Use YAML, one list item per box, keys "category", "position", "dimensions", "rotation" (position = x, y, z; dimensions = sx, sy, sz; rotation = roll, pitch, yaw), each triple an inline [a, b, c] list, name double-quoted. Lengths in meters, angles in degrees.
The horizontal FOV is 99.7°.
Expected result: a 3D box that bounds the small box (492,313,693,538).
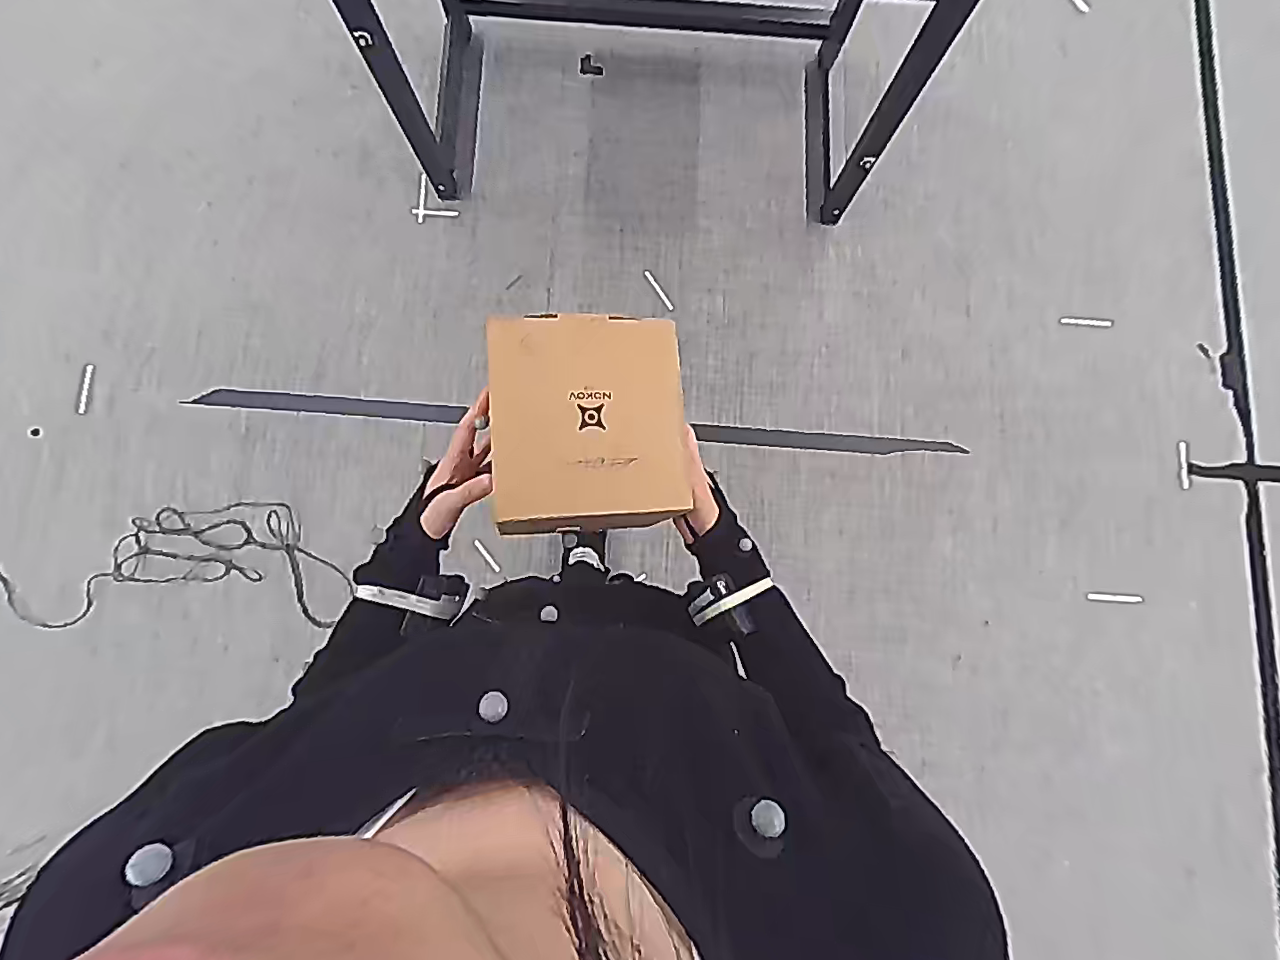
- category: "small box"
  position: [-0.058, -0.041, 0.528]
  dimensions: [0.168, 0.176, 0.179]
  rotation: [-2, 81, -13]
